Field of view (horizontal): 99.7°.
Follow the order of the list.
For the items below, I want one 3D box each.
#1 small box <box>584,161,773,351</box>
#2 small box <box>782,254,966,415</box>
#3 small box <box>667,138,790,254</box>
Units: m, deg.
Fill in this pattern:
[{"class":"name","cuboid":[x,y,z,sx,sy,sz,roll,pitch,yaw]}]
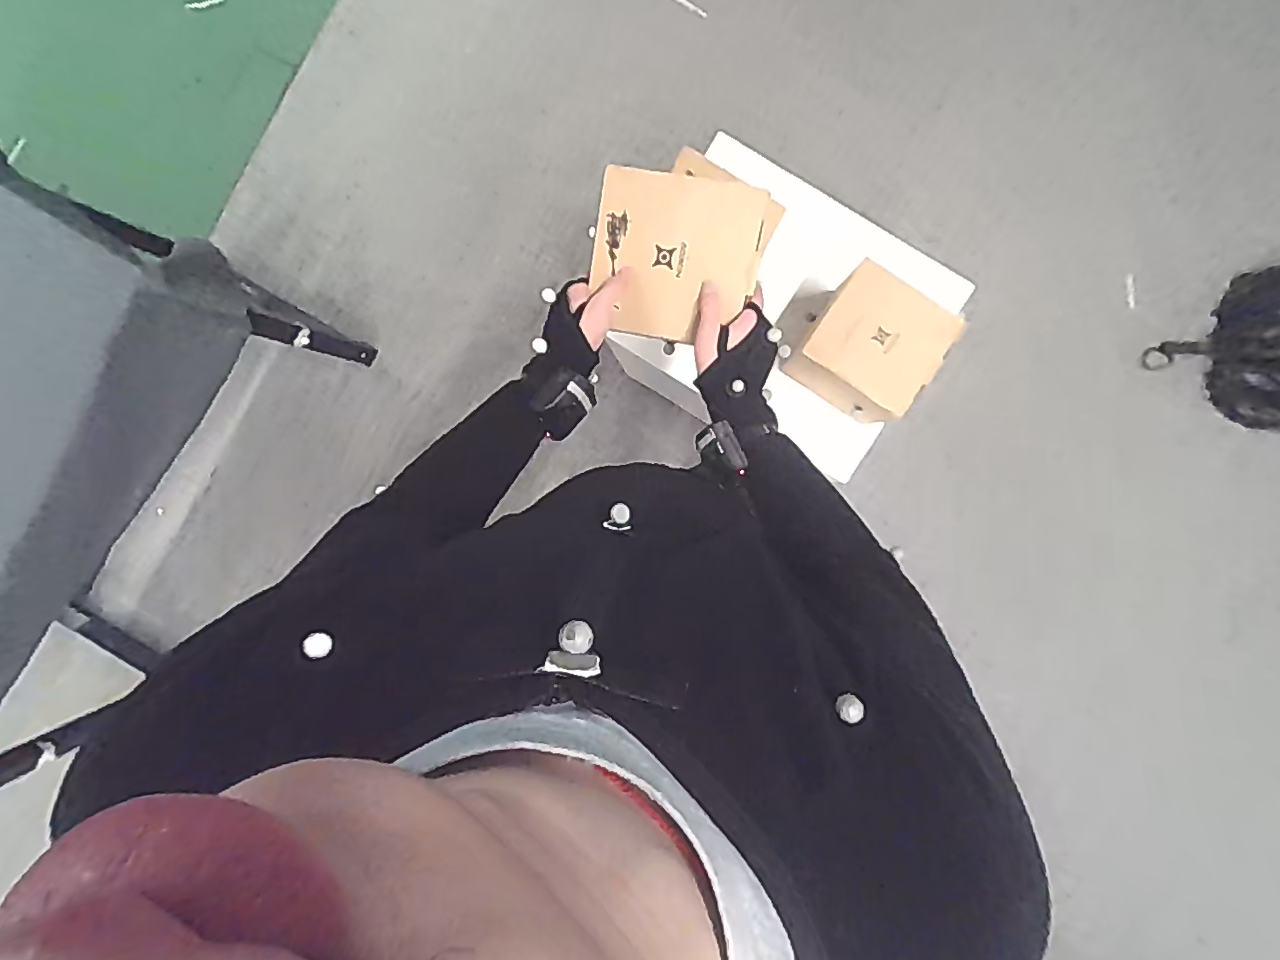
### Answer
[{"class":"small box","cuboid":[0.045,-0.254,0.646,0.179,0.176,0.168,11,105,4]},{"class":"small box","cuboid":[0.351,-0.214,0.850,0.179,0.176,0.168,33,94,1]},{"class":"small box","cuboid":[0.099,-0.375,0.845,0.179,0.176,0.168,32,95,-2]}]
